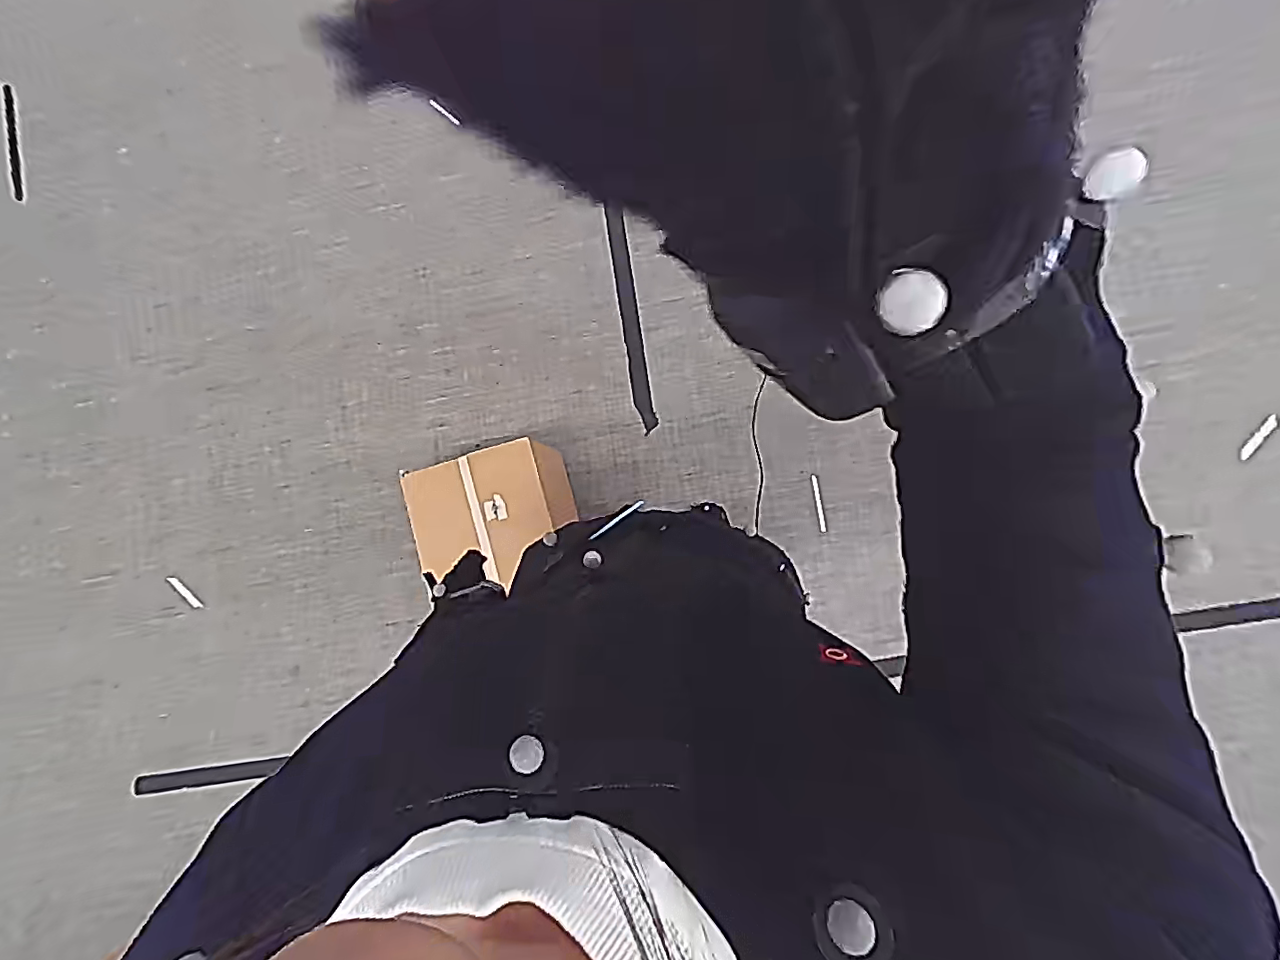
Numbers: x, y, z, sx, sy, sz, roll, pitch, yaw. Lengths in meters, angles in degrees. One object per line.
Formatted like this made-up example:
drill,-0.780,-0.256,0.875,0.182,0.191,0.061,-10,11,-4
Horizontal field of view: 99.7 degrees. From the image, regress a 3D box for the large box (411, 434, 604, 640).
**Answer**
large box,-0.311,0.139,1.358,0.320,0.320,0.408,-16,84,4
